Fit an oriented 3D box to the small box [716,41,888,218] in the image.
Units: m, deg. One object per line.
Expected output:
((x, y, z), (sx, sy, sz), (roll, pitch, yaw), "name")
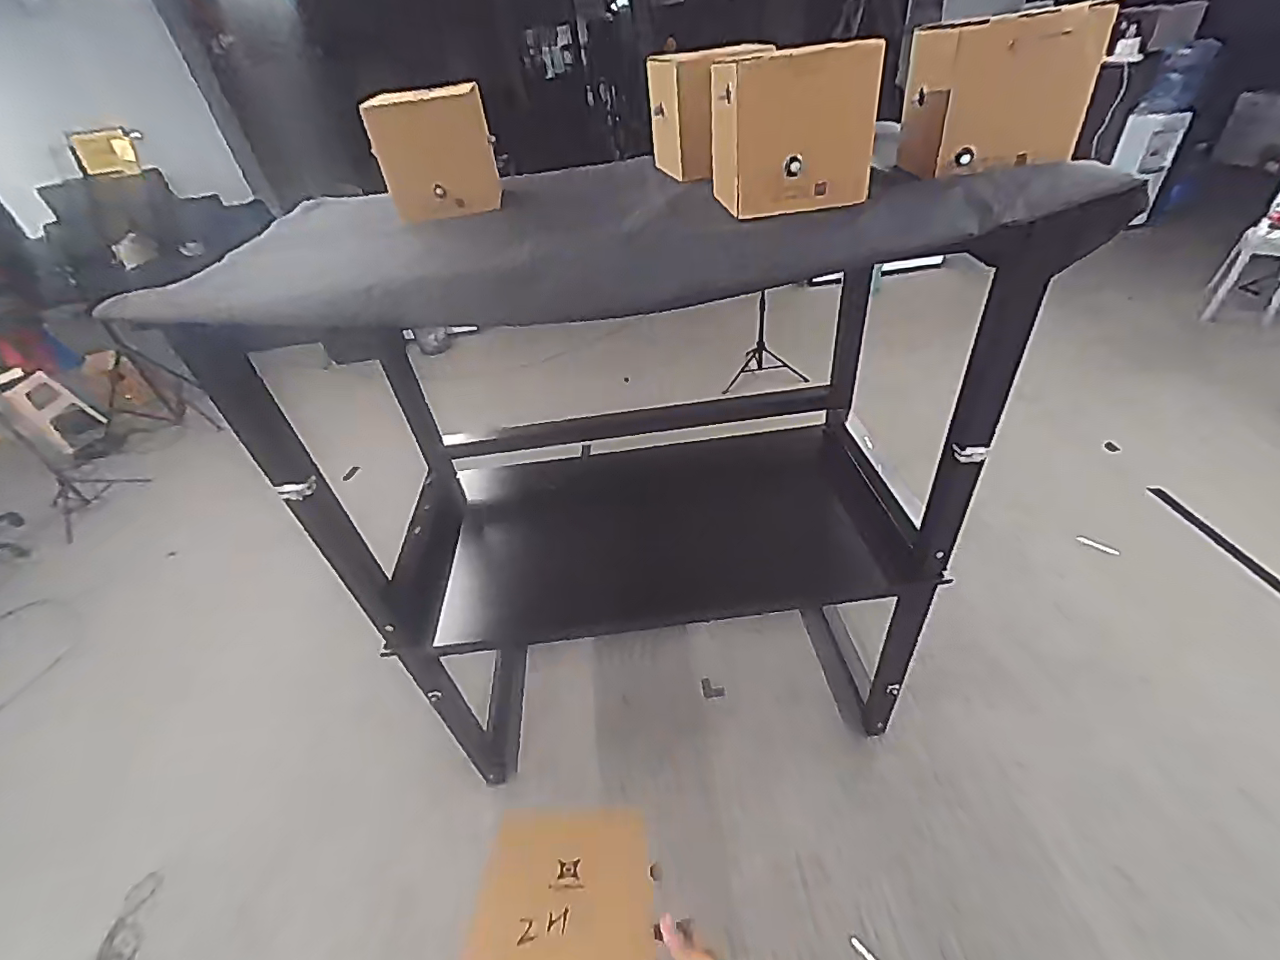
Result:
((0.194, -0.454, 0.706), (0.168, 0.176, 0.179), (-8, 38, 1), "small box")

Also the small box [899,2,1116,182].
((0.465, -0.507, 0.720), (0.168, 0.176, 0.179), (-3, 38, 8), "small box")

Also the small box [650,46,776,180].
((0.121, -0.633, 0.936), (0.168, 0.176, 0.179), (-14, 40, -7), "small box")
